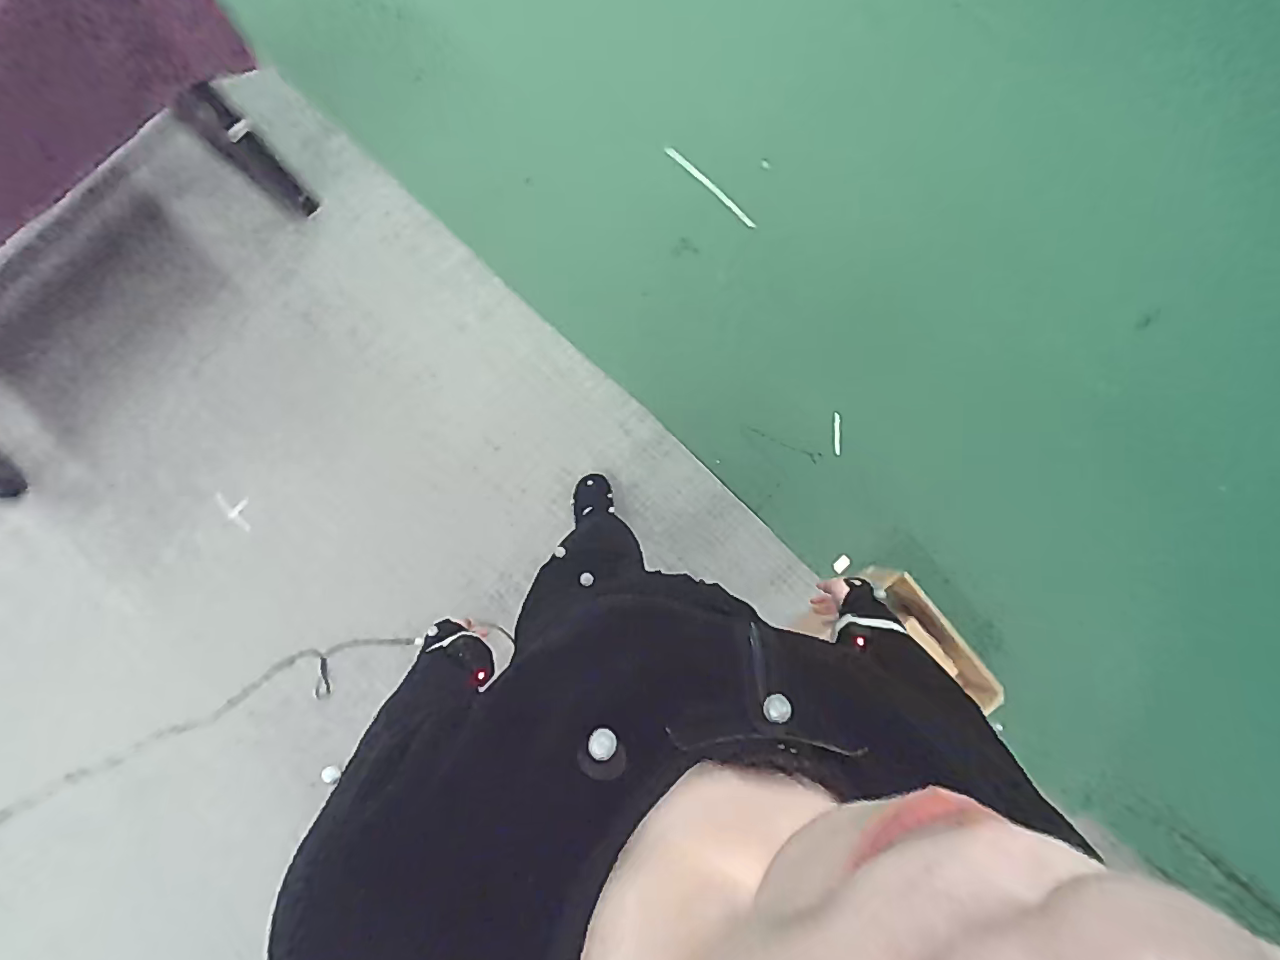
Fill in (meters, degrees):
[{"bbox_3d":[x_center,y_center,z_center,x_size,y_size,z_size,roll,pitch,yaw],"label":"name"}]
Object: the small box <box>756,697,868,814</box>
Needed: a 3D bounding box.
[{"bbox_3d":[0.408,0.657,1.323,0.168,0.176,0.179,-41,84,-6],"label":"small box"}]
